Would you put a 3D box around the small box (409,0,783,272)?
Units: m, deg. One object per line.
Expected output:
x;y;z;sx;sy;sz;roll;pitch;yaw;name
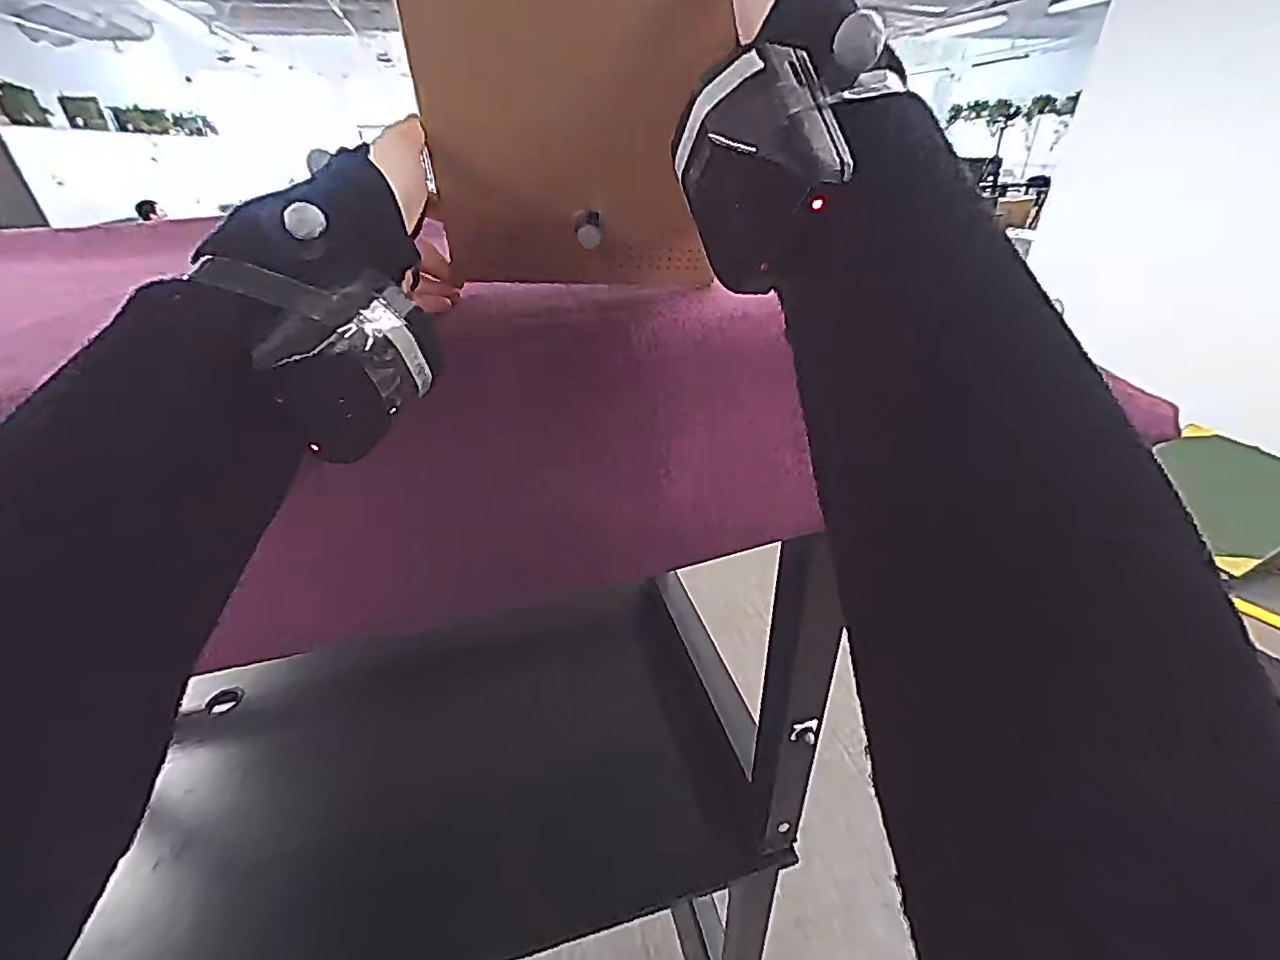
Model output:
-0.031;-0.250;0.342;0.179;0.176;0.168;-3;53;-7;small box
